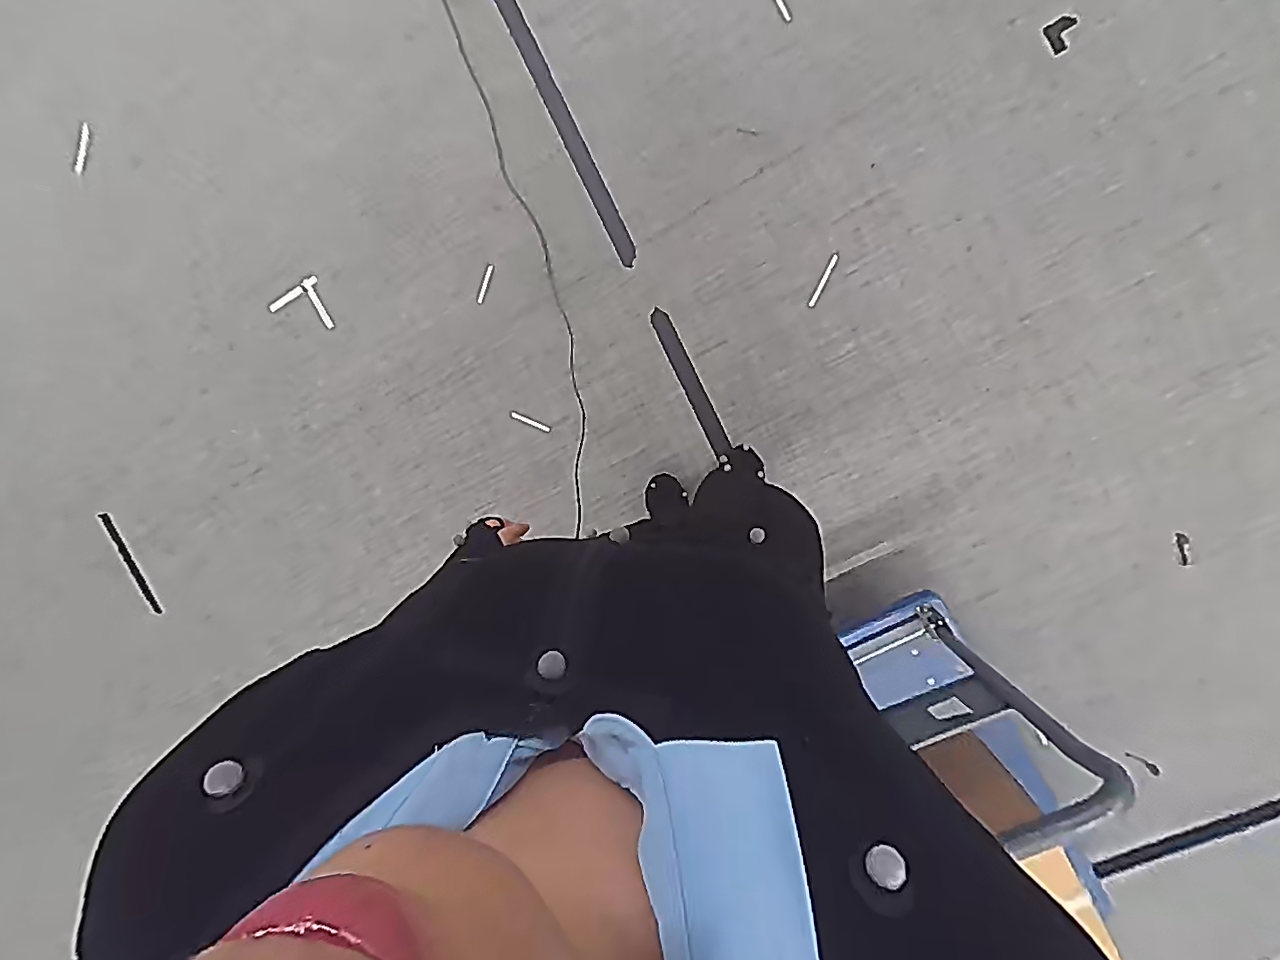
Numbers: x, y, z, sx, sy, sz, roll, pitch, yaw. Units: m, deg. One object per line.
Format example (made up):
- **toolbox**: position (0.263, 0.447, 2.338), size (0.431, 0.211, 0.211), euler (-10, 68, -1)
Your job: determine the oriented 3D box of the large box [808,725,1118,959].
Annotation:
- **large box**: position (0.629, 0.797, 1.135), size (0.408, 0.320, 0.320), euler (-28, 92, 8)
